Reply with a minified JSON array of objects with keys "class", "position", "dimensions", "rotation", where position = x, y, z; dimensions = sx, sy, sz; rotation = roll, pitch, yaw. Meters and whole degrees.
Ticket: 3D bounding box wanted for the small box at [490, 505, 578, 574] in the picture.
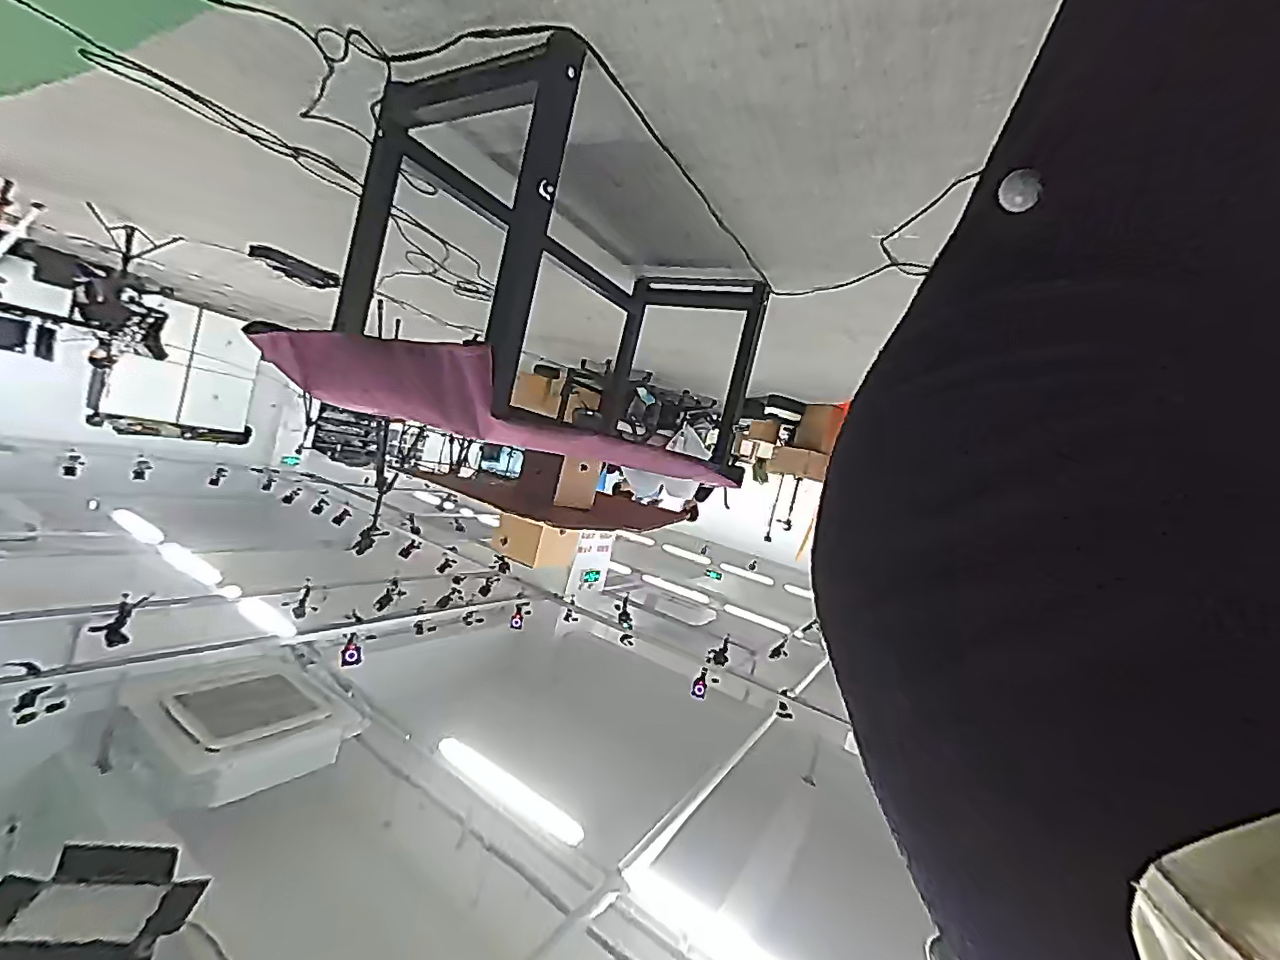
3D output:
[{"class":"small box","position":[-0.308,0.171,1.601],"dimensions":[0.179,0.176,0.168],"rotation":[14,180,31]}]
